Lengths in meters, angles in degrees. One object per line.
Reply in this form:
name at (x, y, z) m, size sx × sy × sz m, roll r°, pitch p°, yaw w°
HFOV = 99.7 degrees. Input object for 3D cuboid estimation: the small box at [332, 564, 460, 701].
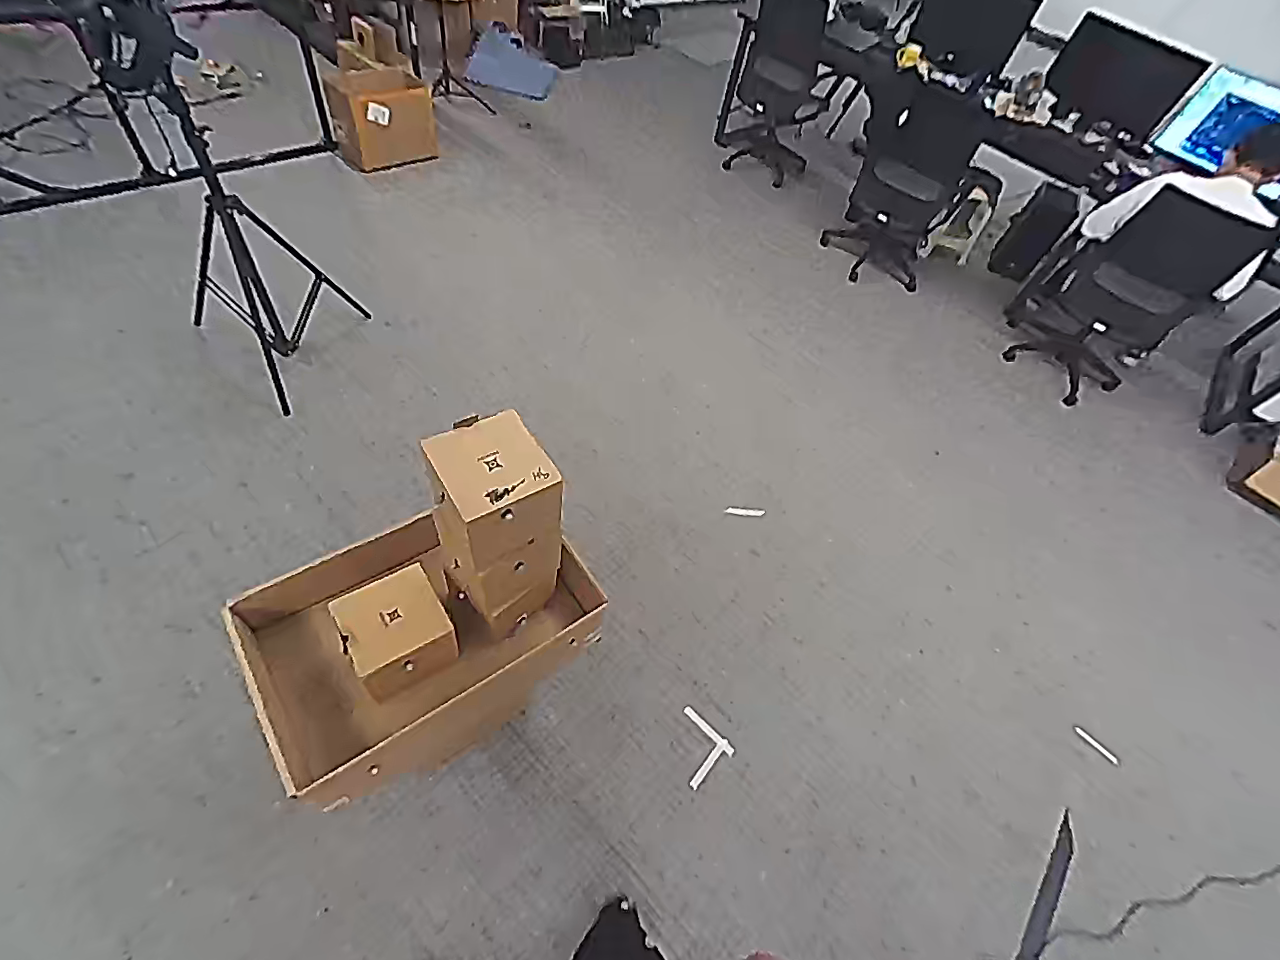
small box at (-0.468, 0.302, 1.065) m, size 0.179 × 0.176 × 0.168 m, roll -26°, pitch 62°, yaw -28°

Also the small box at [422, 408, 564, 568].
small box at (-0.242, 0.015, 0.908) m, size 0.168 × 0.176 × 0.179 m, roll -26°, pitch 61°, yaw -25°

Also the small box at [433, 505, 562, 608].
small box at (-0.265, 0.115, 1.036) m, size 0.179 × 0.176 × 0.168 m, roll -31°, pitch 65°, yaw -28°
